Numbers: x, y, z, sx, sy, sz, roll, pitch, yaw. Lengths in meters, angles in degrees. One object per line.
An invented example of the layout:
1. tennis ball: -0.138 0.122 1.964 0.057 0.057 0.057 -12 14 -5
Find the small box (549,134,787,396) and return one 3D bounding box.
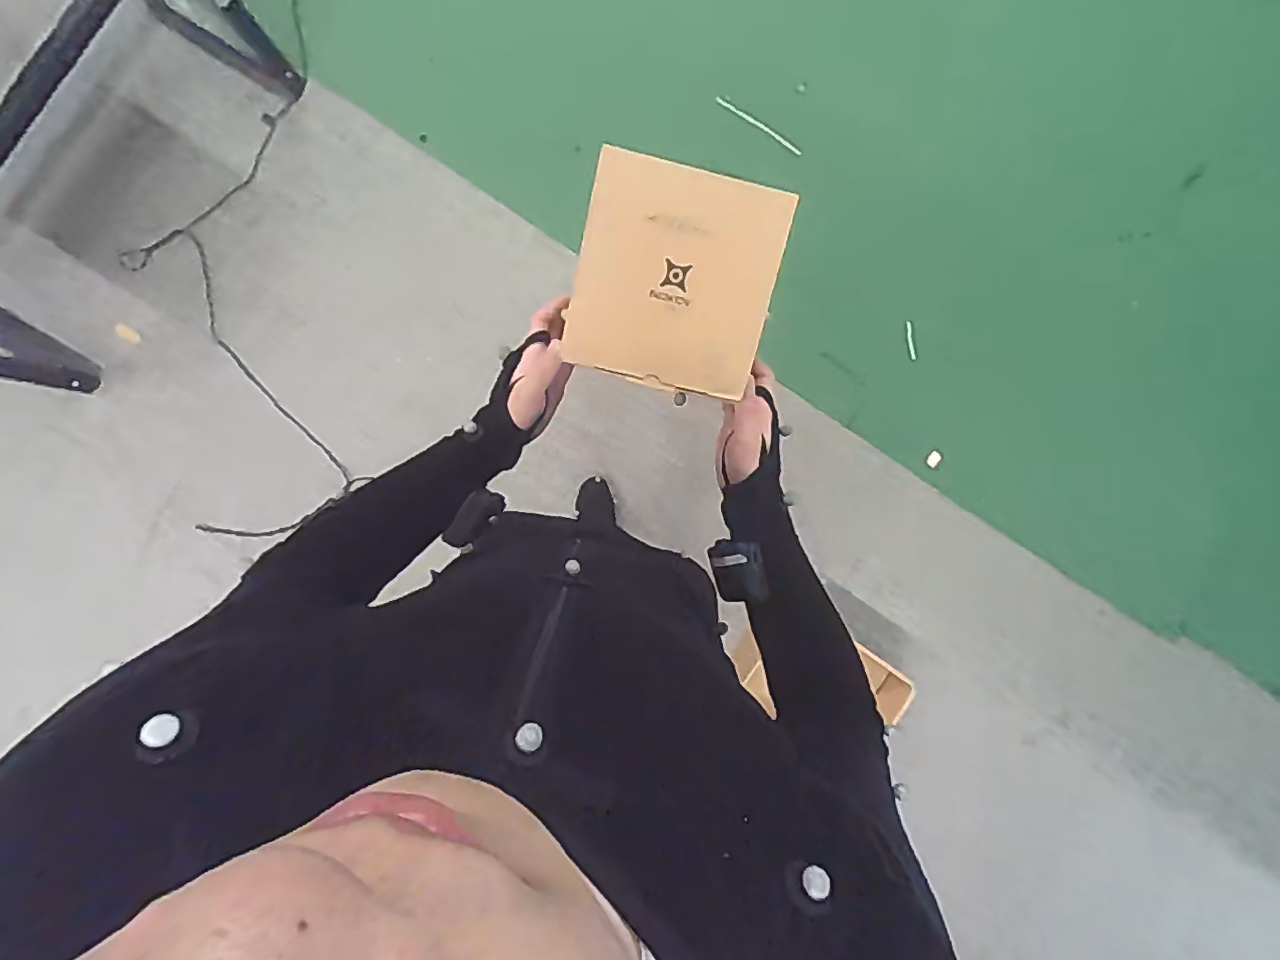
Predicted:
1. small box: 0.020 -0.188 0.524 0.168 0.176 0.179 13 101 -4
